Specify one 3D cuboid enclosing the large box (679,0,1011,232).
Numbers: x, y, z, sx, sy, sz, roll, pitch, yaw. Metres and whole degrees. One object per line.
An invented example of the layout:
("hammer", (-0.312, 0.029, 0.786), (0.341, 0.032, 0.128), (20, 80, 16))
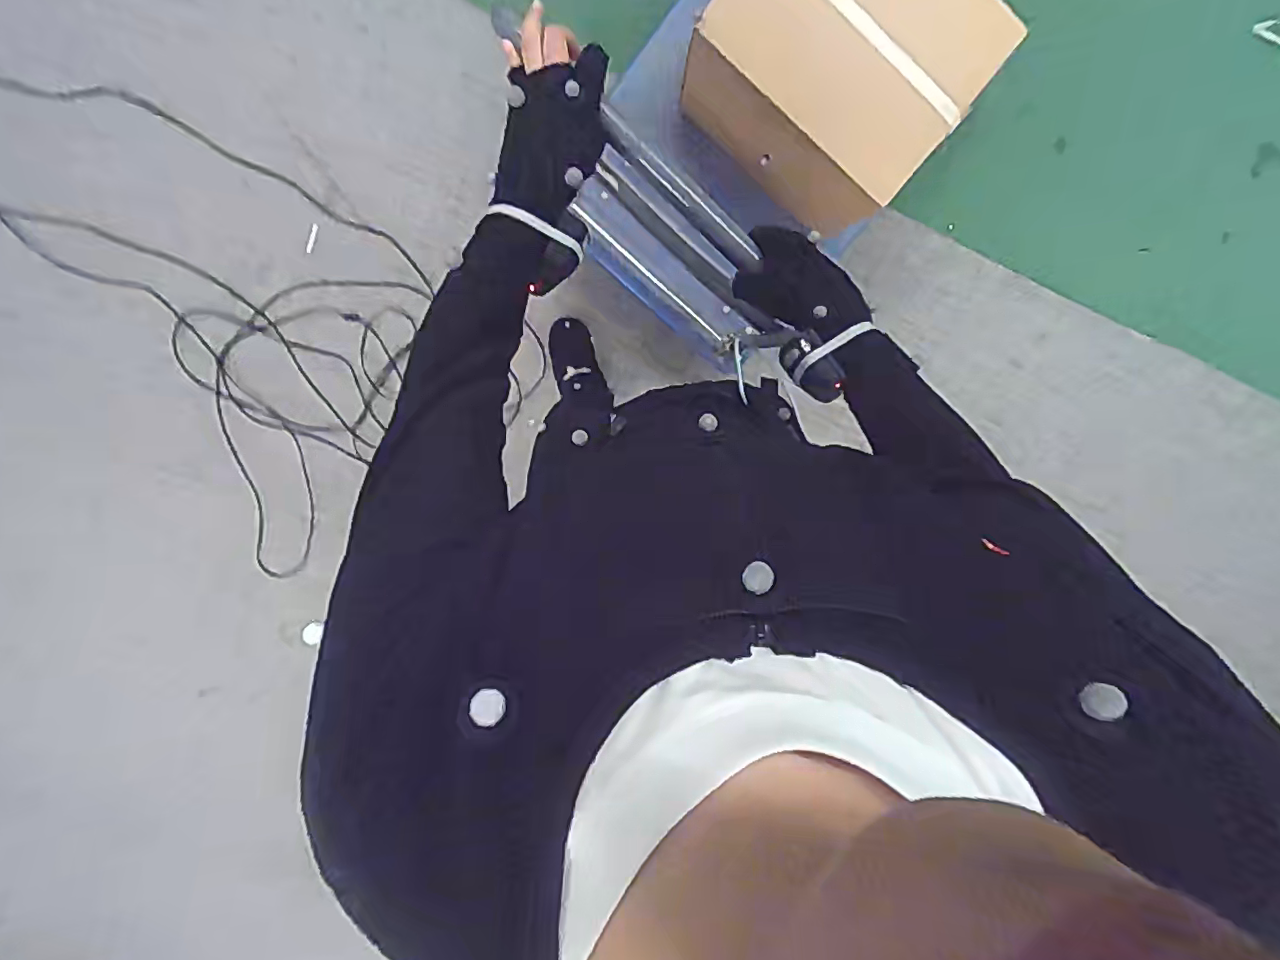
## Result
("large box", (0.323, -0.724, 0.971), (0.408, 0.320, 0.320), (37, 101, -9))
